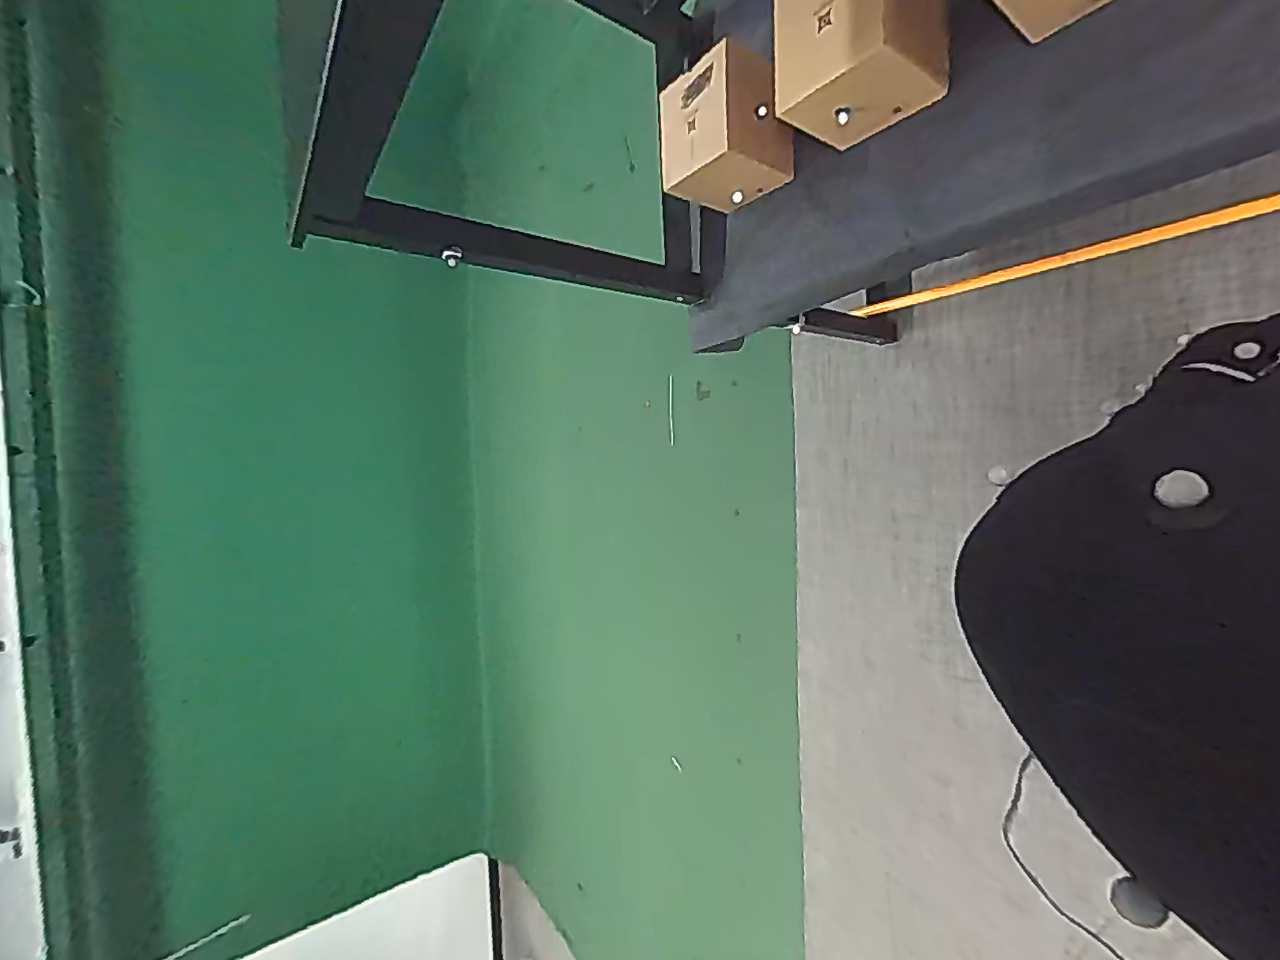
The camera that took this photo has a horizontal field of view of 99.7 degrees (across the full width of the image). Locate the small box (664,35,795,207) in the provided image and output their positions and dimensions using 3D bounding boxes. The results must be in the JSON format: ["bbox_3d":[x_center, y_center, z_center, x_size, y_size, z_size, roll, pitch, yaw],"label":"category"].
[{"bbox_3d":[0.159,-0.618,0.959,0.168,0.176,0.179,2,95,54],"label":"small box"}]

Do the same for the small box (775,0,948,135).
[{"bbox_3d":[0.310,-0.618,0.756,0.168,0.176,0.179,1,94,54],"label":"small box"}]
